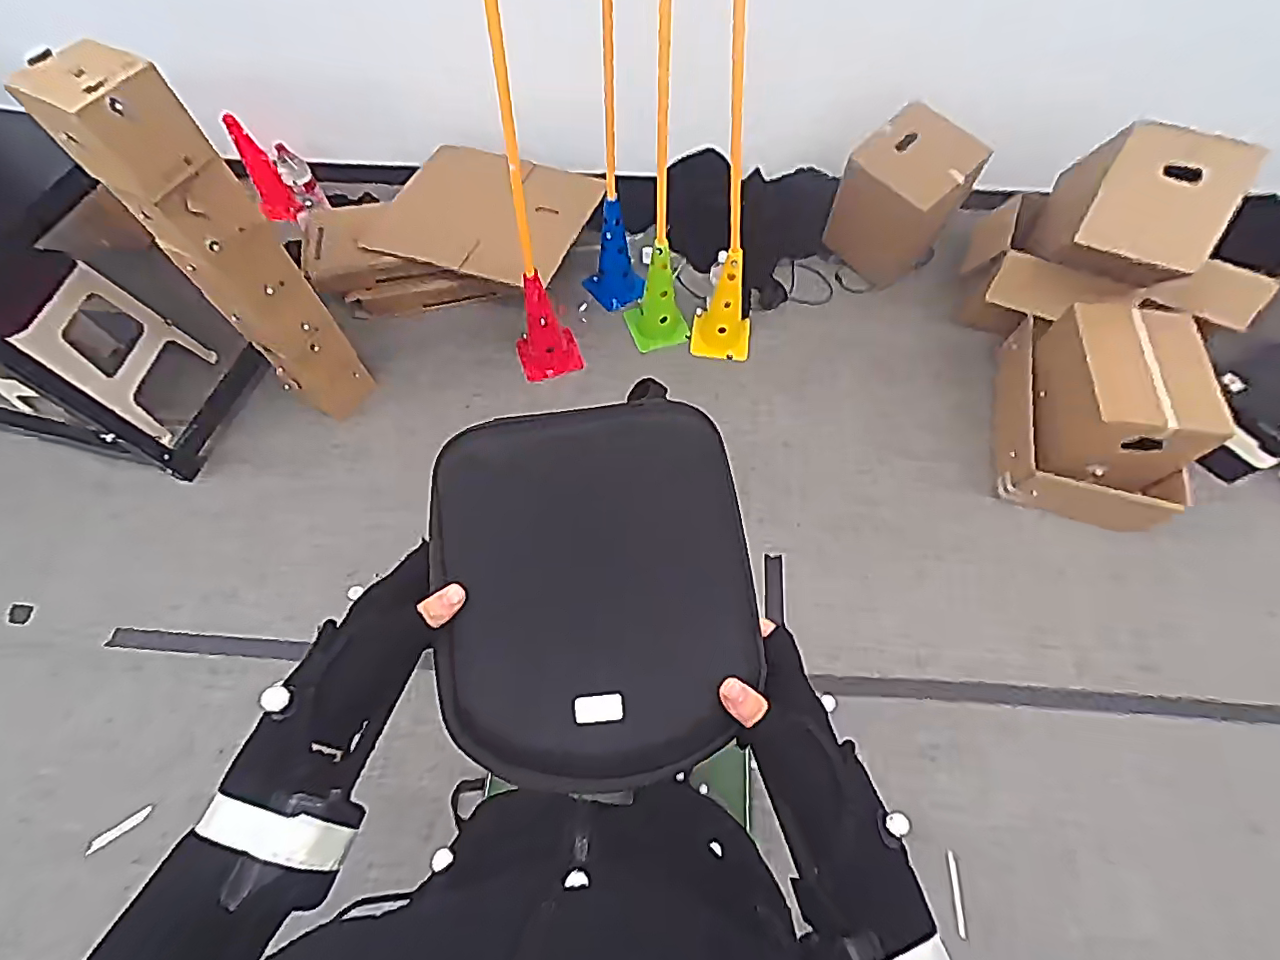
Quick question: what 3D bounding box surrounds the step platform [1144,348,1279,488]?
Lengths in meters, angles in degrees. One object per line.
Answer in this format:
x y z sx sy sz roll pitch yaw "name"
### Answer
1.983 -0.235 1.686 0.684 0.204 0.286 -23 65 -11 "step platform"
